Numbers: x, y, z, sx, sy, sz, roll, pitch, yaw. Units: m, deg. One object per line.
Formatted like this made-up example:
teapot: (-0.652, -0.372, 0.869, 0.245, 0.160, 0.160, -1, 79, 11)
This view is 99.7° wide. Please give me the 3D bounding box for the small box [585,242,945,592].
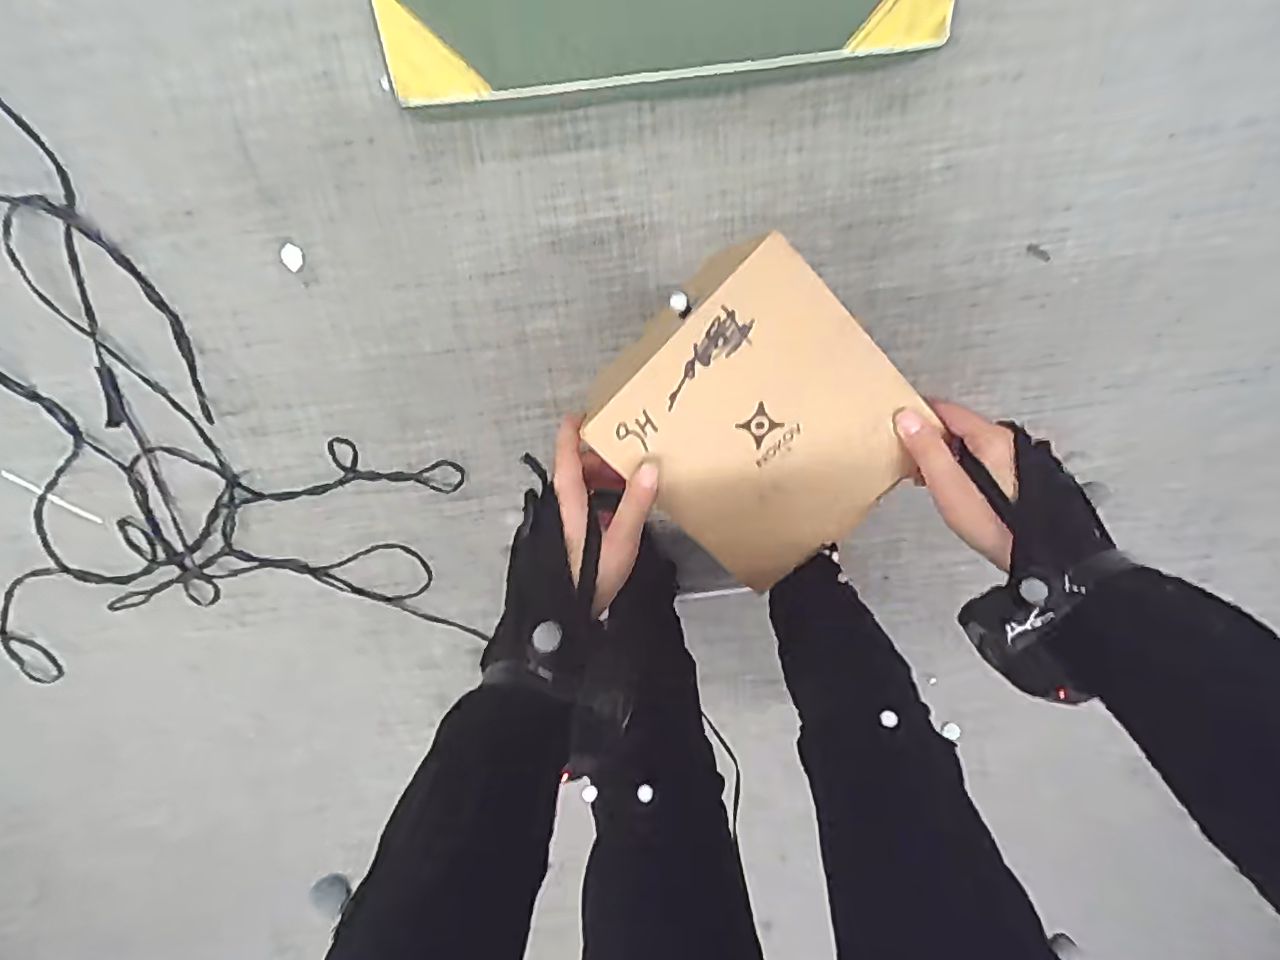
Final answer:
small box: (0.080, -0.056, 0.418, 0.179, 0.176, 0.168, 42, 104, -15)
